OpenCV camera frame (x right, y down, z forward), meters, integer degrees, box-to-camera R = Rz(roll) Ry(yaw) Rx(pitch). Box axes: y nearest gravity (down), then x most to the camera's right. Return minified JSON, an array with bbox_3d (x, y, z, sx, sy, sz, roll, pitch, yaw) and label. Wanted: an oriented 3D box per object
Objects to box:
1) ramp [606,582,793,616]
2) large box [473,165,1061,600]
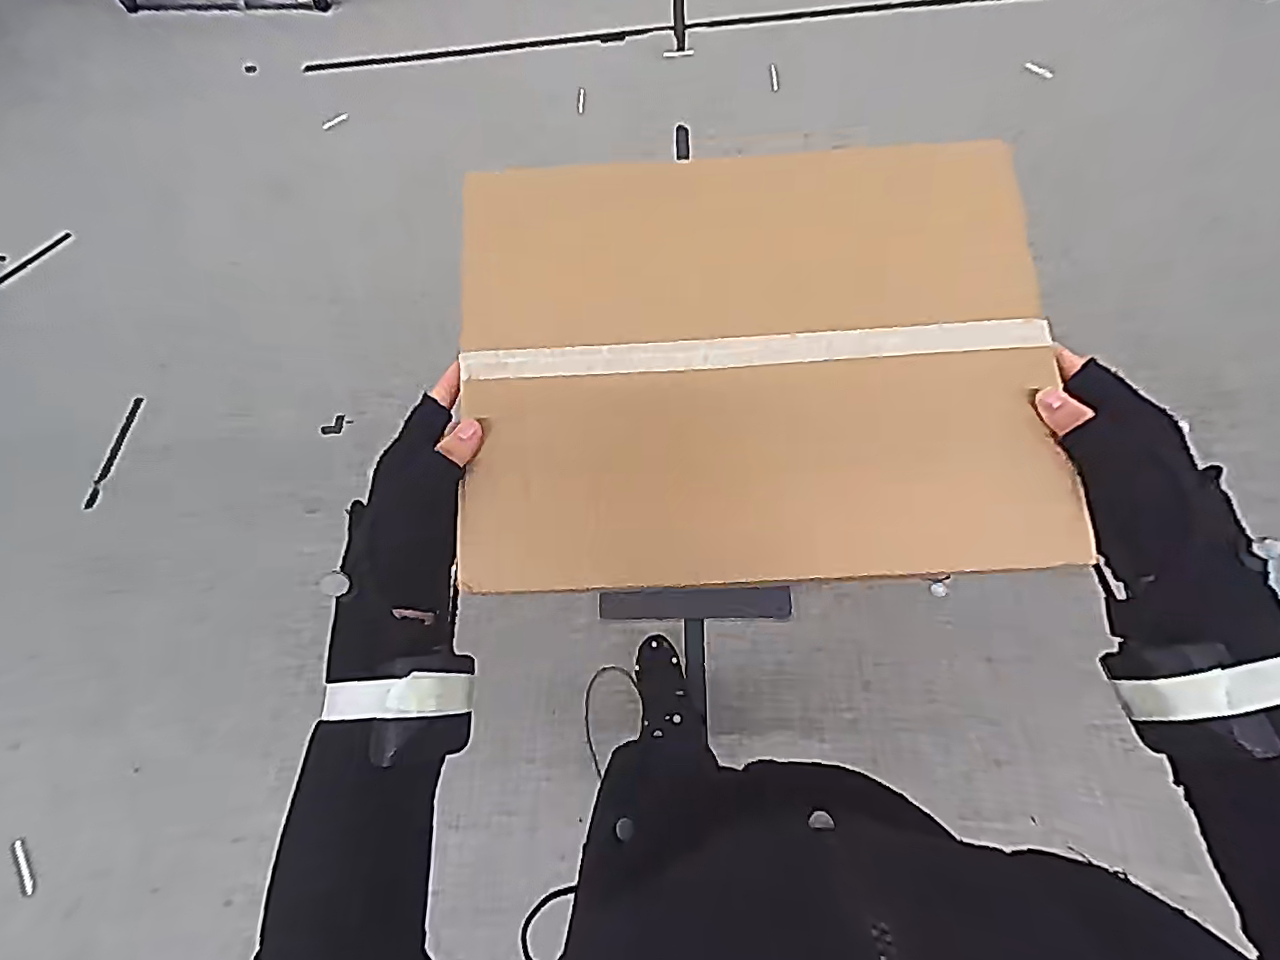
[{"bbox_3d":[0.144,-0.136,1.512,0.509,0.206,0.991,-3,67,3],"label":"ramp"},{"bbox_3d":[0.083,-0.053,0.539,0.408,0.320,0.320,-3,78,2],"label":"large box"}]
